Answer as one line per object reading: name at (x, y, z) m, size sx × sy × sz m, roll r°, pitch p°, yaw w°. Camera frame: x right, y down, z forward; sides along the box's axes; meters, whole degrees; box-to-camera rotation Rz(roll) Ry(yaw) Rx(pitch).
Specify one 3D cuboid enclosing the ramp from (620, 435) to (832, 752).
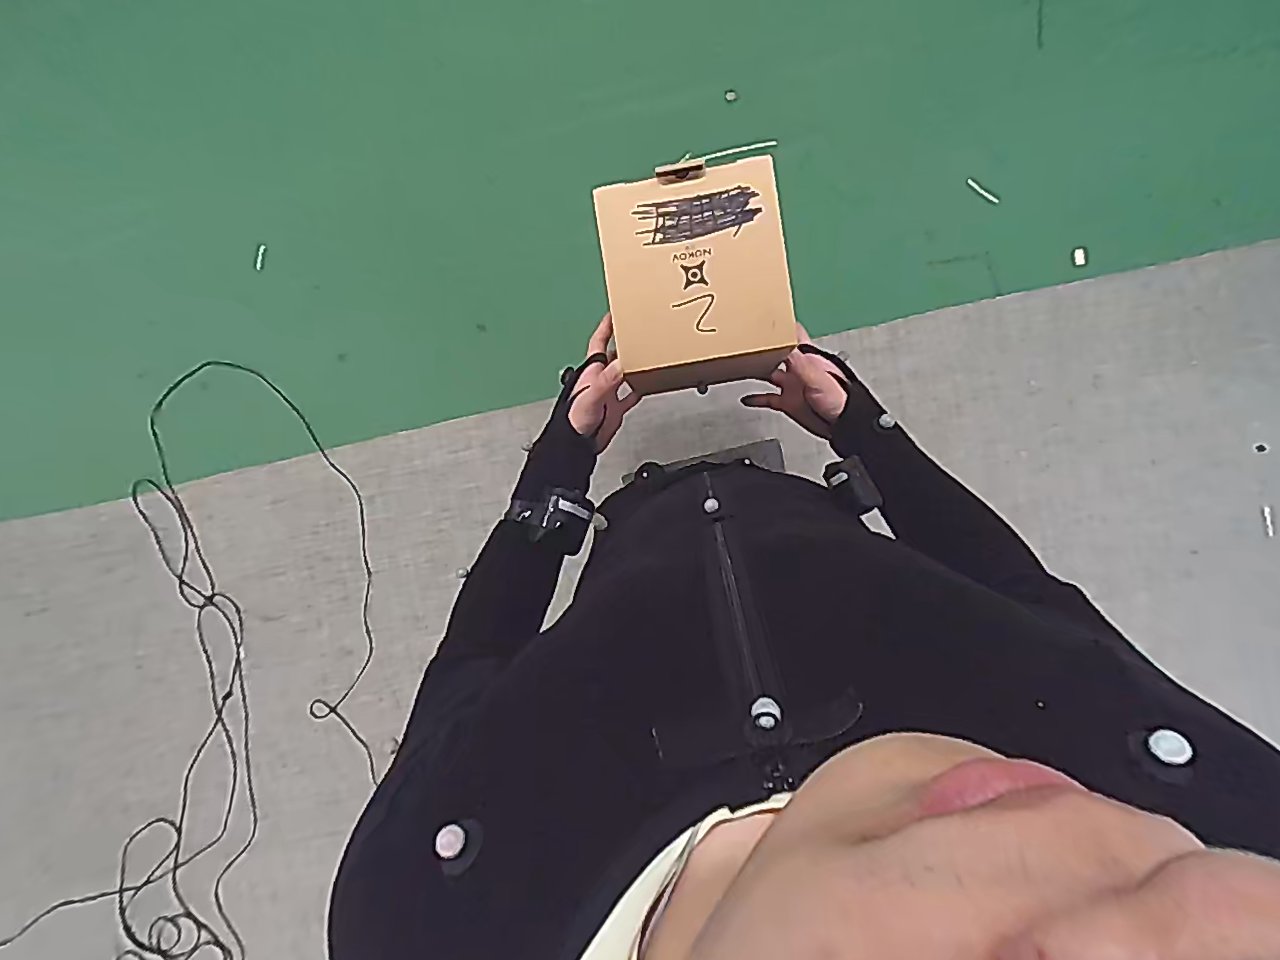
ramp at (0.291, 0.390, 1.708) m, size 0.509 × 0.206 × 0.991 m, roll -15°, pitch 92°, yaw 2°
